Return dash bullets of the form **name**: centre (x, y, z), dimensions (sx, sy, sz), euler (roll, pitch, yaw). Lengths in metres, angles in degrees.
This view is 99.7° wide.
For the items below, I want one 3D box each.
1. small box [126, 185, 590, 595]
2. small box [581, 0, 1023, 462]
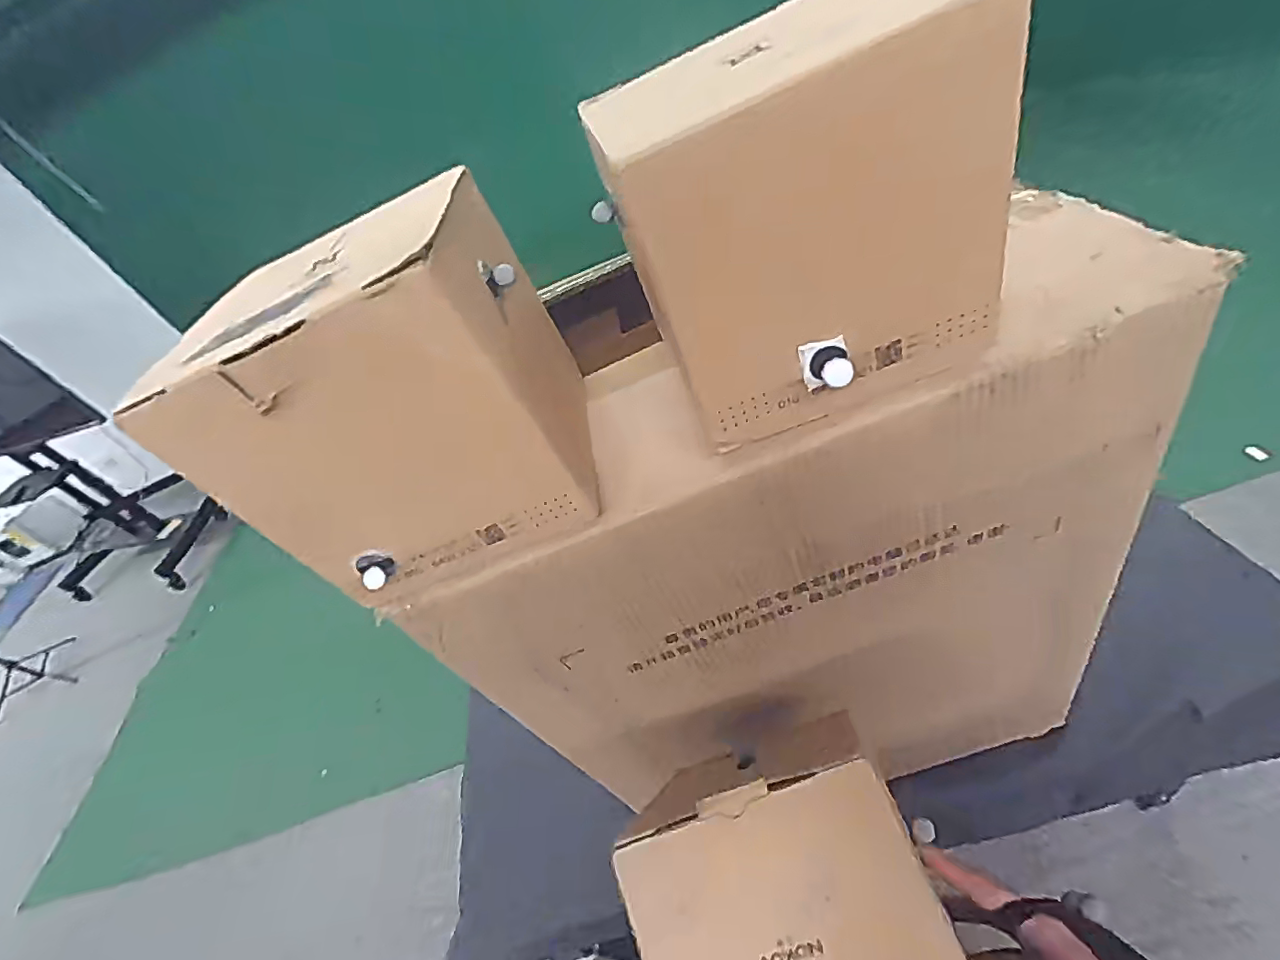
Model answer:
- **small box**: centre (-0.141, -0.049, 0.346), dimensions (0.168, 0.176, 0.179), euler (-22, 40, 9)
- **small box**: centre (0.079, -0.142, 0.319), dimensions (0.168, 0.176, 0.179), euler (-23, 41, 7)
